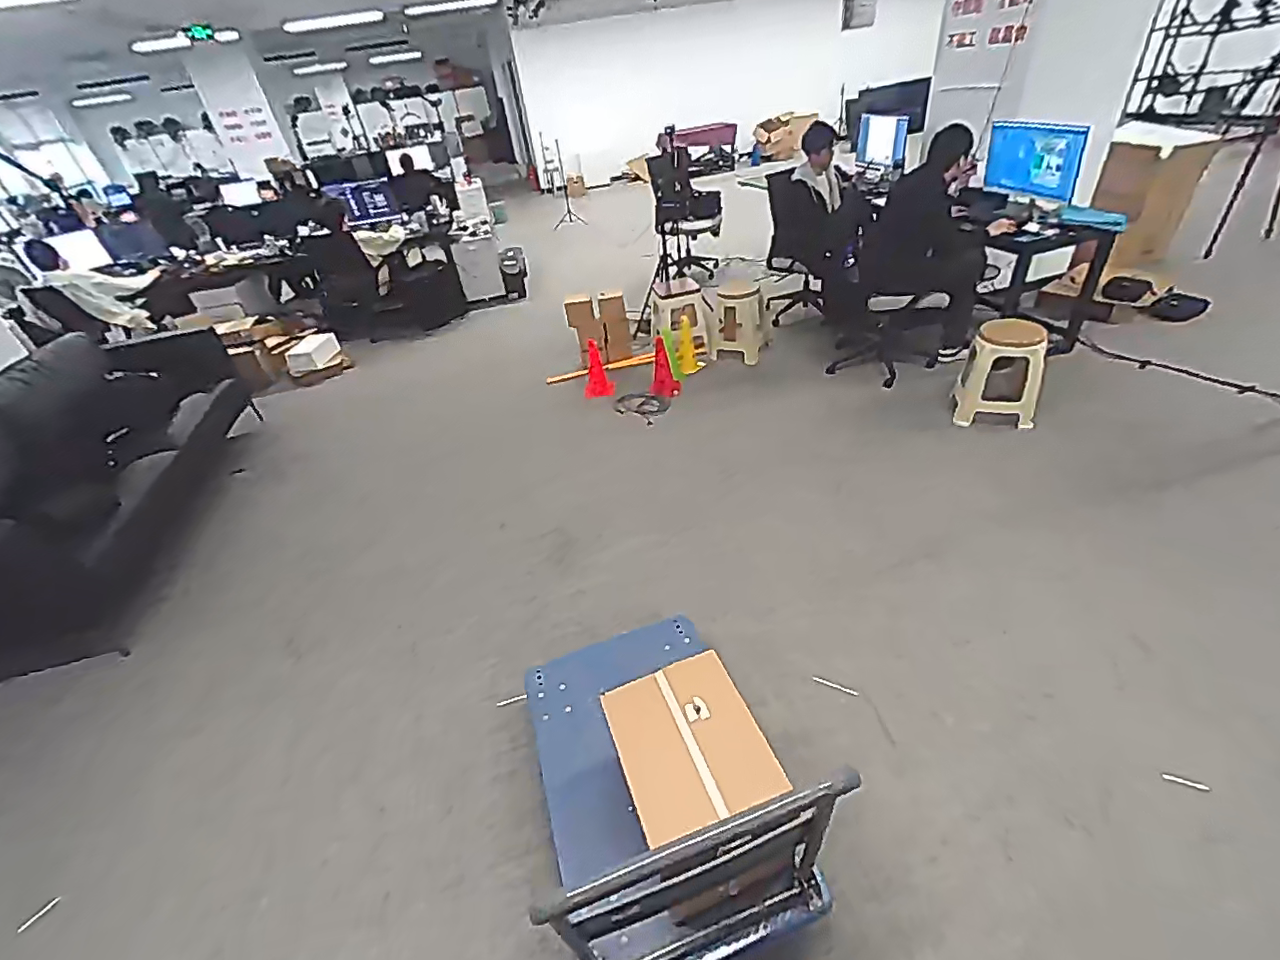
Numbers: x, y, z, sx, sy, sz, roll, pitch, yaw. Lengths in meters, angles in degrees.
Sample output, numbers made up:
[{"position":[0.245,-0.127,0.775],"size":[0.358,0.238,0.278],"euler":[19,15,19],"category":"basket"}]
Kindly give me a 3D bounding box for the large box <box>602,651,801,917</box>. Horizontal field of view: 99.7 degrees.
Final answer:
[{"position":[0.138,0.704,1.290],"size":[0.320,0.320,0.408],"euler":[-18,37,-12],"category":"large box"}]
